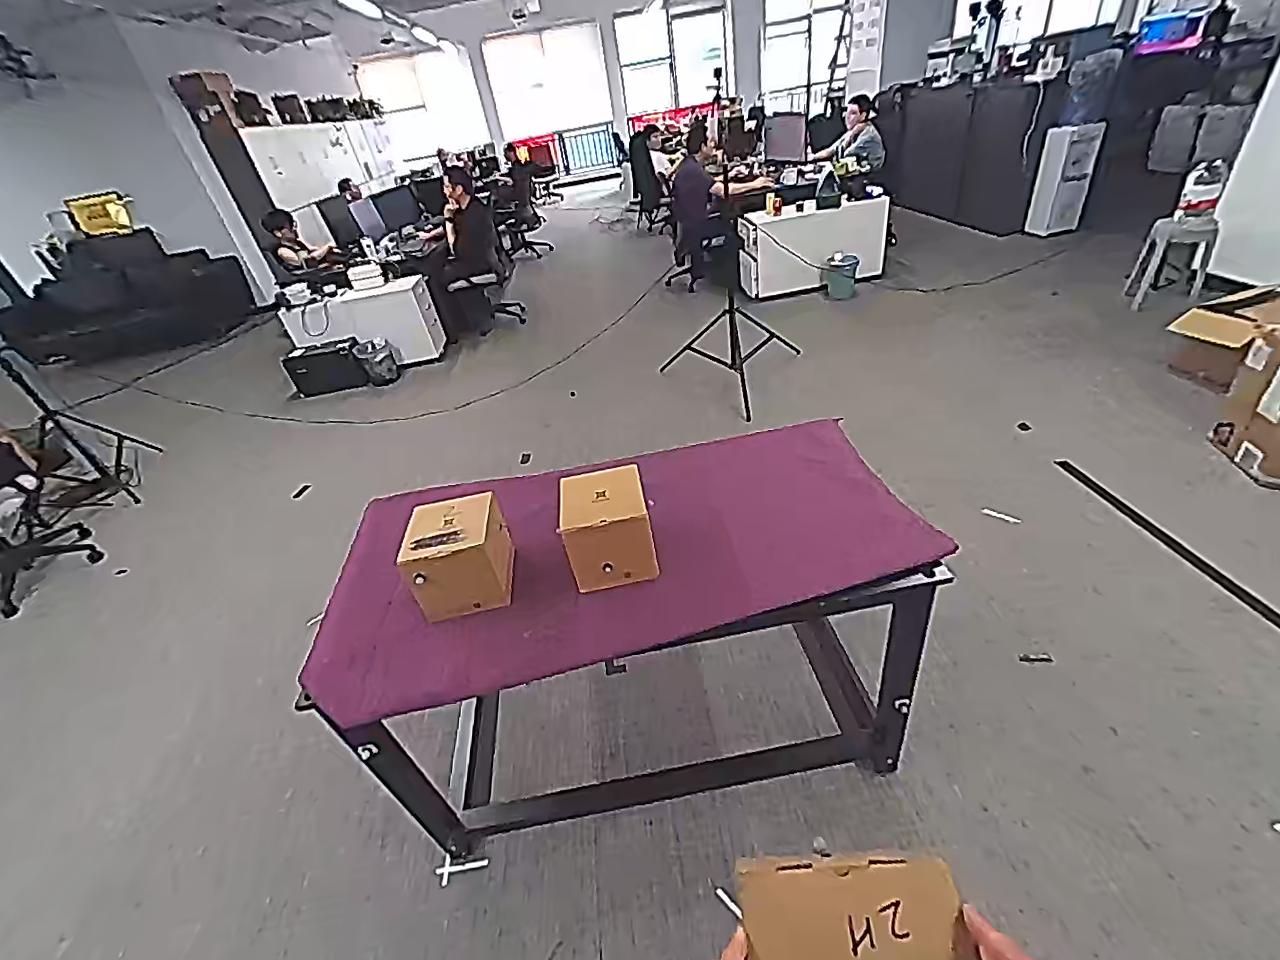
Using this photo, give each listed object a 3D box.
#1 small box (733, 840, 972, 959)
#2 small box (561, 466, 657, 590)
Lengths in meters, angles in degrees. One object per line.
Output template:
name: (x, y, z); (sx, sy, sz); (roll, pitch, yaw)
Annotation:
small box: (0.174, 0.415, 0.456); (0.168, 0.176, 0.179); (-7, 57, 6)
small box: (-0.064, 0.097, 1.110); (0.168, 0.176, 0.179); (-11, 35, -1)
